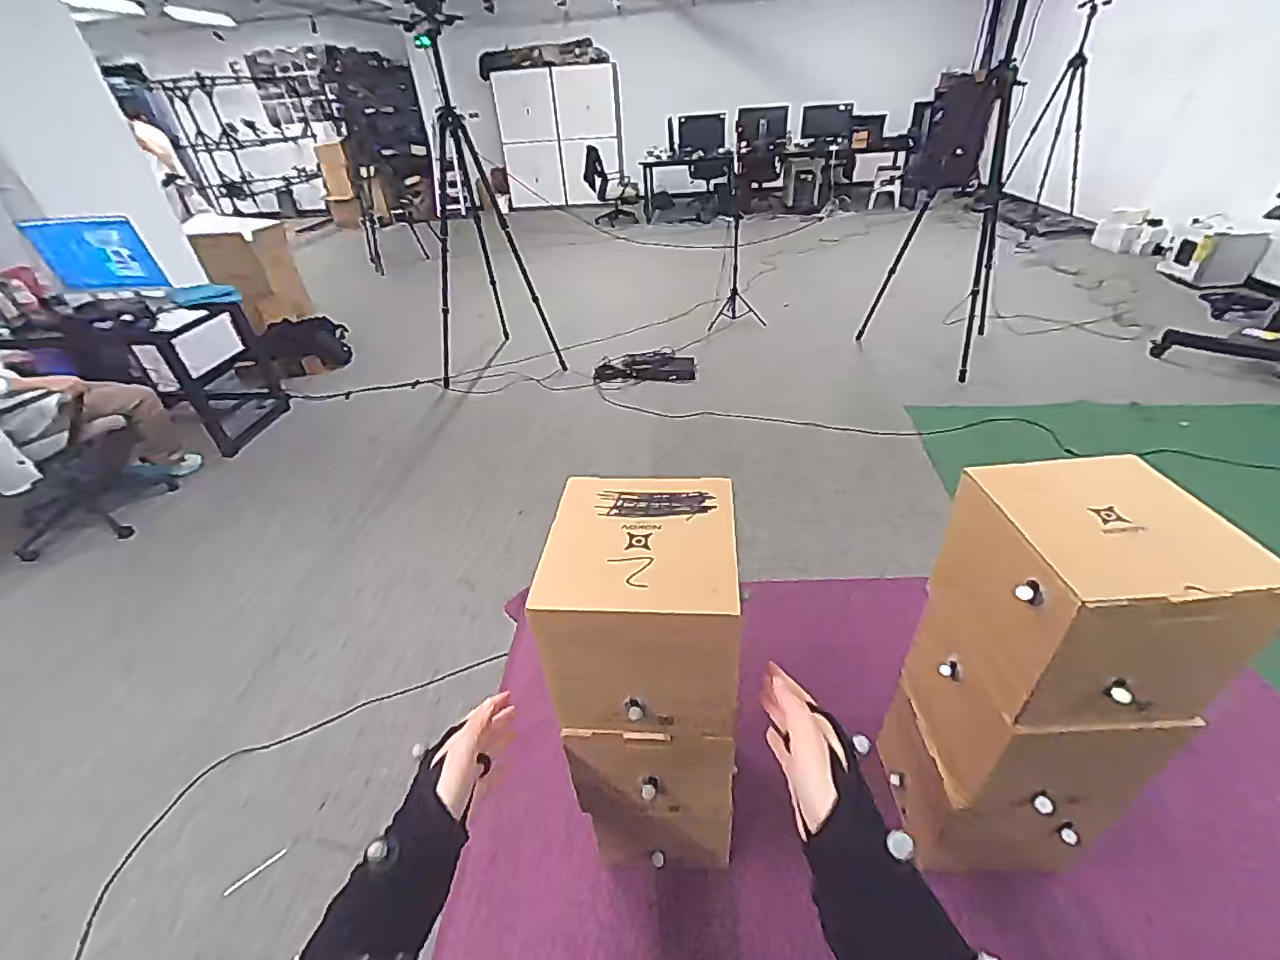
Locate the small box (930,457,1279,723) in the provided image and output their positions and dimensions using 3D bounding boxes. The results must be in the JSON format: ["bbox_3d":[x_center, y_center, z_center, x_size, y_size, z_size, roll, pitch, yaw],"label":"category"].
[{"bbox_3d":[0.403,0.099,0.506,0.168,0.176,0.179,-5,37,1],"label":"small box"}]

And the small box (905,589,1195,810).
[{"bbox_3d":[0.418,0.233,0.596,0.168,0.176,0.179,-4,37,3],"label":"small box"}]

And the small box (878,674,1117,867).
[{"bbox_3d":[0.430,0.367,0.689,0.179,0.176,0.168,-2,35,4],"label":"small box"}]

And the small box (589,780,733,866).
[{"bbox_3d":[0.033,0.379,0.721,0.168,0.176,0.179,-1,37,5],"label":"small box"}]

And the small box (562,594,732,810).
[{"bbox_3d":[0.018,0.252,0.618,0.168,0.176,0.179,-1,37,5],"label":"small box"}]
